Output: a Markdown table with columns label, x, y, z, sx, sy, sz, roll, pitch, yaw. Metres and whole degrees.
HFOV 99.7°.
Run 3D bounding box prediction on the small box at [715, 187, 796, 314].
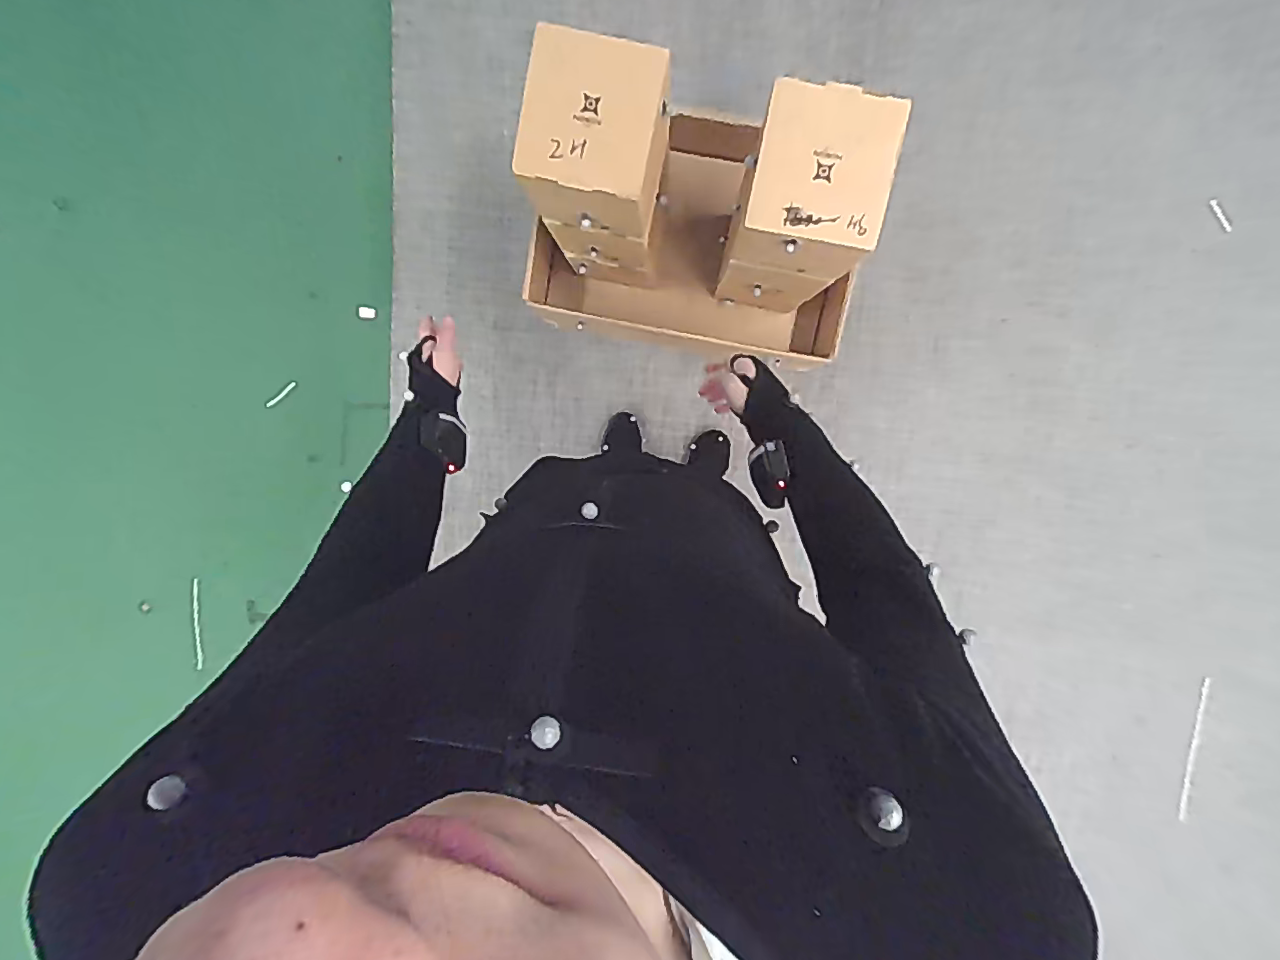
| label | x | y | z | sx | sy | sz | roll | pitch | yaw |
| --- | --- | --- | --- | --- | --- | --- | --- | --- | --- |
| small box | 0.247 | -0.435 | 1.057 | 0.168 | 0.176 | 0.179 | 13 | 98 | 1 |

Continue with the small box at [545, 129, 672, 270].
| label | x | y | z | sx | sy | sz | roll | pitch | yaw |
| --- | --- | --- | --- | --- | --- | --- | --- | --- | --- |
| small box | -0.048 | -0.474 | 0.902 | 0.168 | 0.176 | 0.179 | 13 | 98 | 1 |

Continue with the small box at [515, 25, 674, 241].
| label | x | y | z | sx | sy | sz | roll | pitch | yaw |
| --- | --- | --- | --- | --- | --- | --- | --- | --- | --- |
| small box | -0.055 | -0.456 | 0.739 | 0.168 | 0.176 | 0.179 | 14 | 98 | 1 |

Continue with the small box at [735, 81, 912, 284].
| label | x | y | z | sx | sy | sz | roll | pitch | yaw |
| --- | --- | --- | --- | --- | --- | --- | --- | --- | --- |
| small box | 0.232 | -0.387 | 0.734 | 0.168 | 0.176 | 0.179 | 12 | 98 | 2 |

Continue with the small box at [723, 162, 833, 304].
| label | x | y | z | sx | sy | sz | roll | pitch | yaw |
| --- | --- | --- | --- | --- | --- | --- | --- | --- | --- |
| small box | 0.239 | -0.409 | 0.896 | 0.168 | 0.176 | 0.179 | 12 | 99 | 2 |
